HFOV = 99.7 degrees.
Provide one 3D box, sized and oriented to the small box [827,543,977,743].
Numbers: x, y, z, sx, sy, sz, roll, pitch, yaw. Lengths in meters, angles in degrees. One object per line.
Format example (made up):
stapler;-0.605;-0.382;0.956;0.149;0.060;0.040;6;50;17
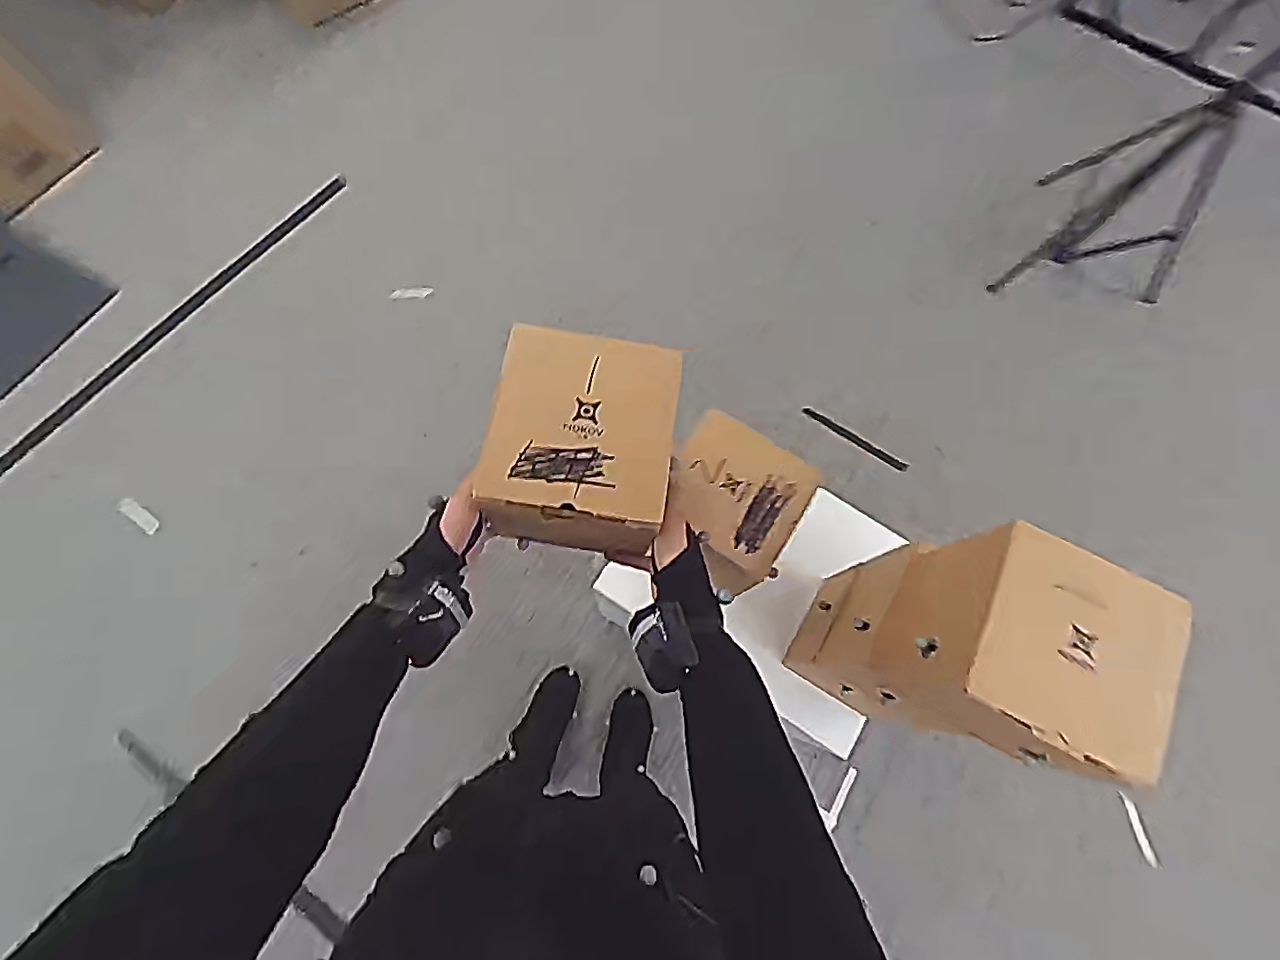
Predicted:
small box;0.367;0.211;0.701;0.168;0.176;0.179;32;73;8

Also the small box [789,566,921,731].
small box;0.360;0.265;0.857;0.168;0.176;0.179;31;72;9

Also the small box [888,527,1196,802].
small box;0.380;0.176;0.542;0.168;0.176;0.179;28;72;6

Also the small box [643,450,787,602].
small box;0.113;0.086;0.907;0.168;0.176;0.179;35;73;8

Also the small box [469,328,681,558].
small box;-0.059;-0.024;0.555;0.168;0.176;0.179;9;71;-3
